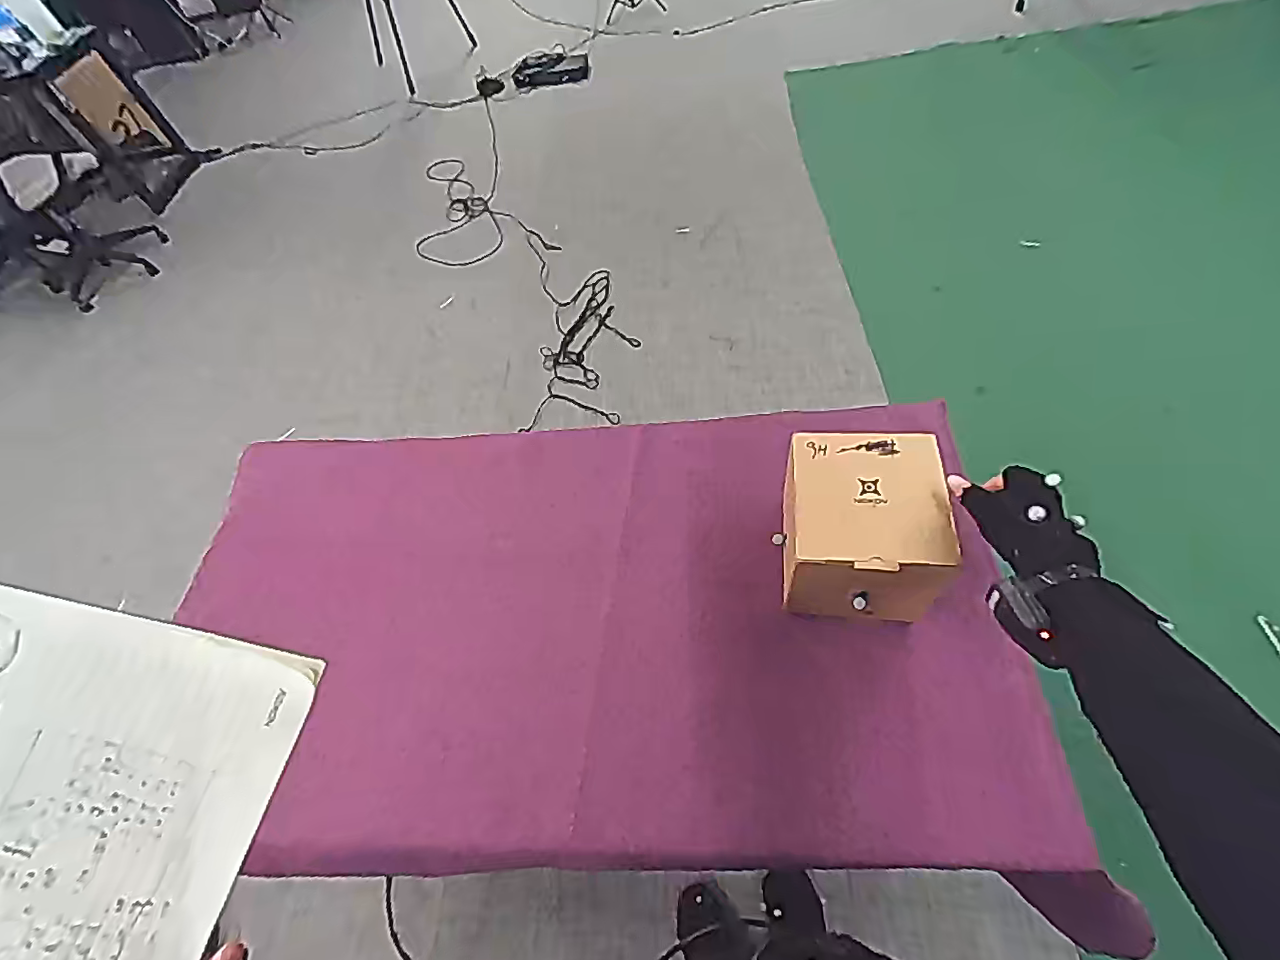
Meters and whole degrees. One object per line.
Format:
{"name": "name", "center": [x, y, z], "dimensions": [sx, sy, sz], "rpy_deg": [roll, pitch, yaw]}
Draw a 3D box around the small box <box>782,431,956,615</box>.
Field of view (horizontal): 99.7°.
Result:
{"name": "small box", "center": [0.269, 0.058, 0.677], "dimensions": [0.168, 0.176, 0.179], "rpy_deg": [2, 59, 11]}
